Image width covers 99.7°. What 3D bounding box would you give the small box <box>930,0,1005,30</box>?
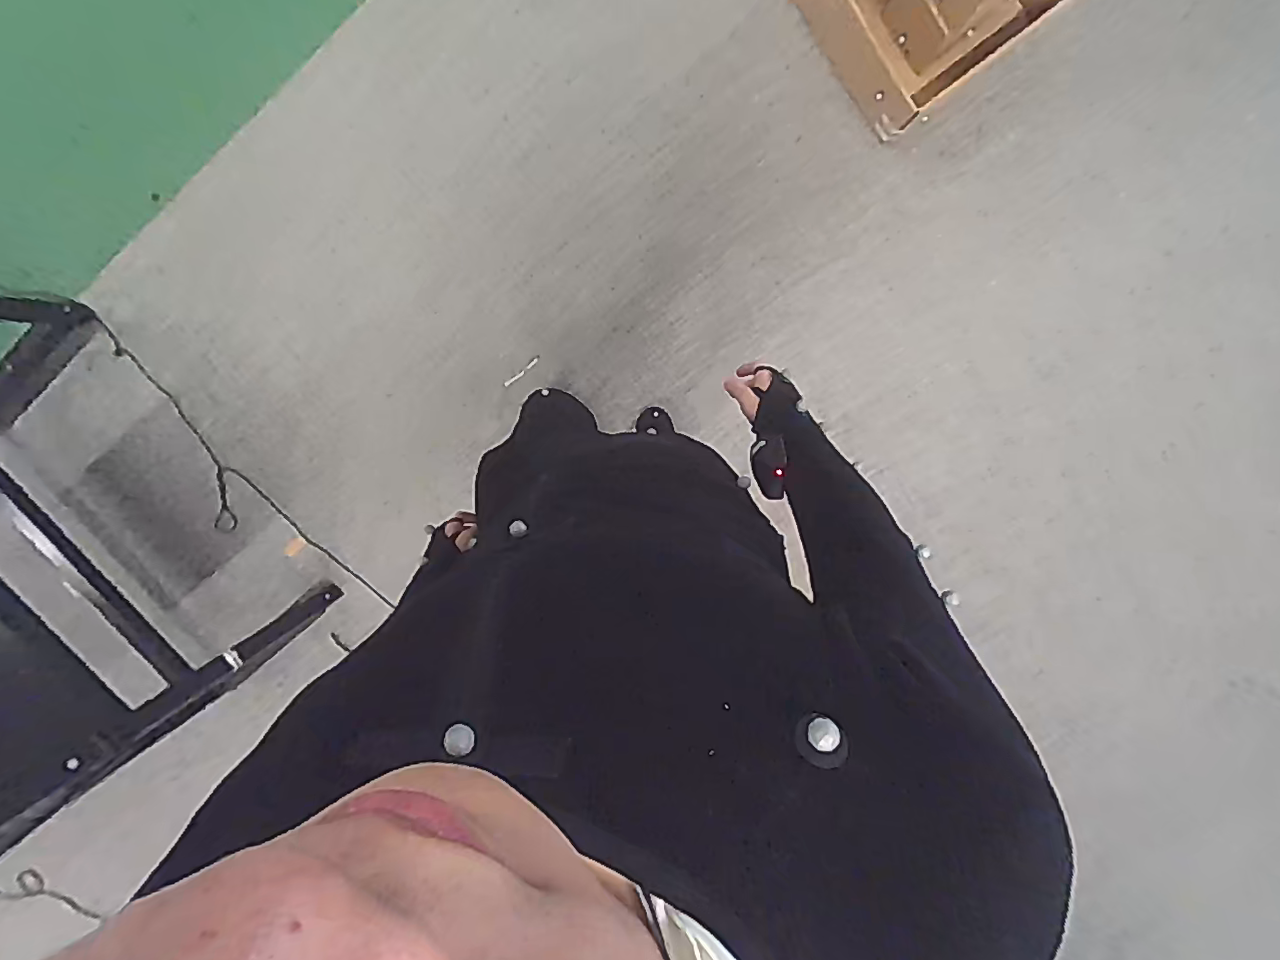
[{"bbox_3d":[0.681,-1.041,1.060,0.168,0.176,0.179,-32,97,10],"label":"small box"}]
